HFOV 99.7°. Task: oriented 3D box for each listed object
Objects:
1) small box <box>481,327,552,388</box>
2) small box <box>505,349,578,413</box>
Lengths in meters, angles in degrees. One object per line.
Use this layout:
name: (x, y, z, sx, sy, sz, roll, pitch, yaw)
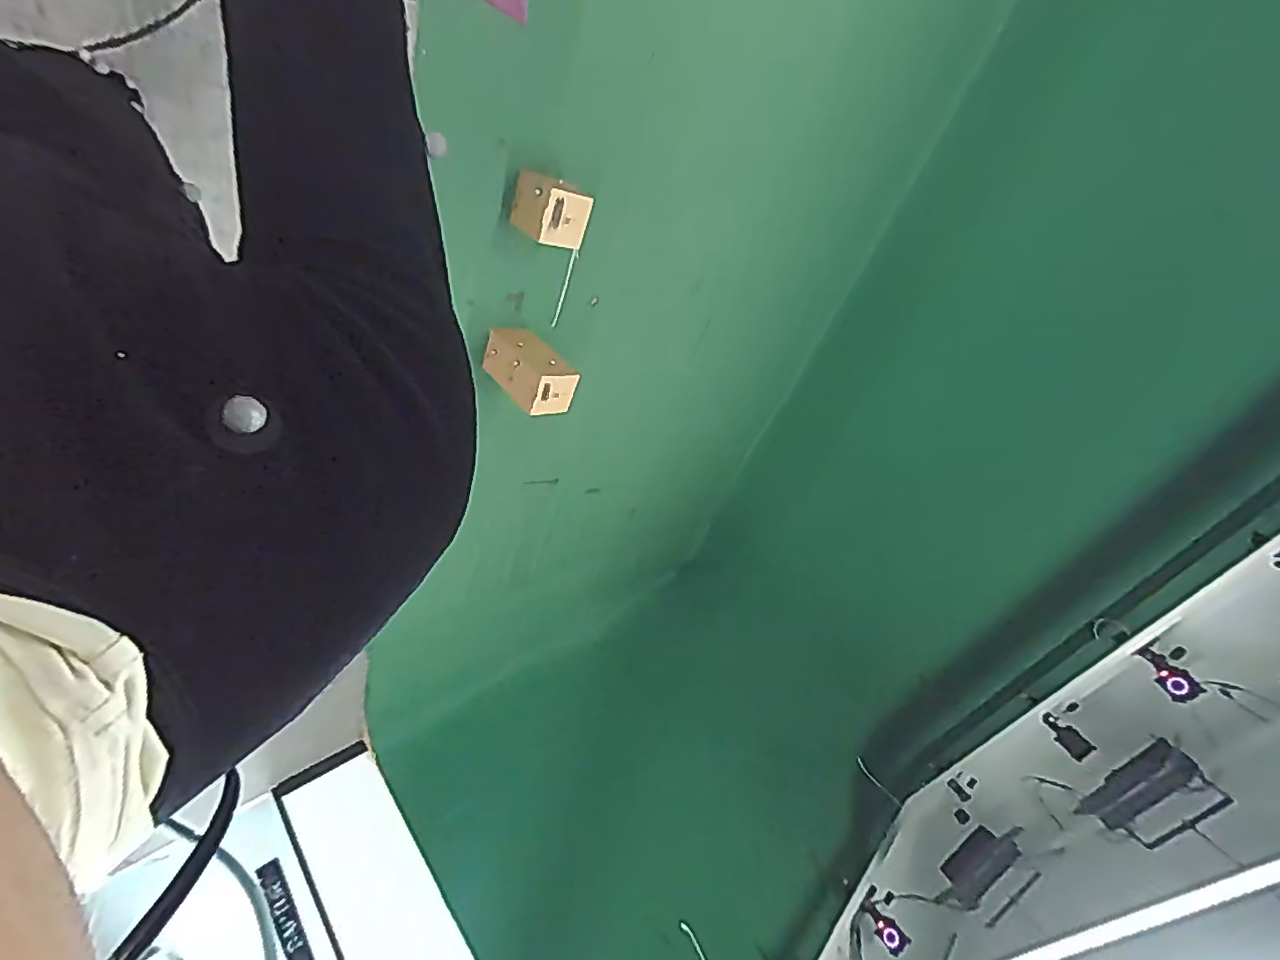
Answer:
small box: (-0.469, -0.466, 2.043, 0.179, 0.176, 0.168, -14, 140, -45)
small box: (-0.364, -0.363, 1.970, 0.179, 0.176, 0.168, -14, 140, -47)
